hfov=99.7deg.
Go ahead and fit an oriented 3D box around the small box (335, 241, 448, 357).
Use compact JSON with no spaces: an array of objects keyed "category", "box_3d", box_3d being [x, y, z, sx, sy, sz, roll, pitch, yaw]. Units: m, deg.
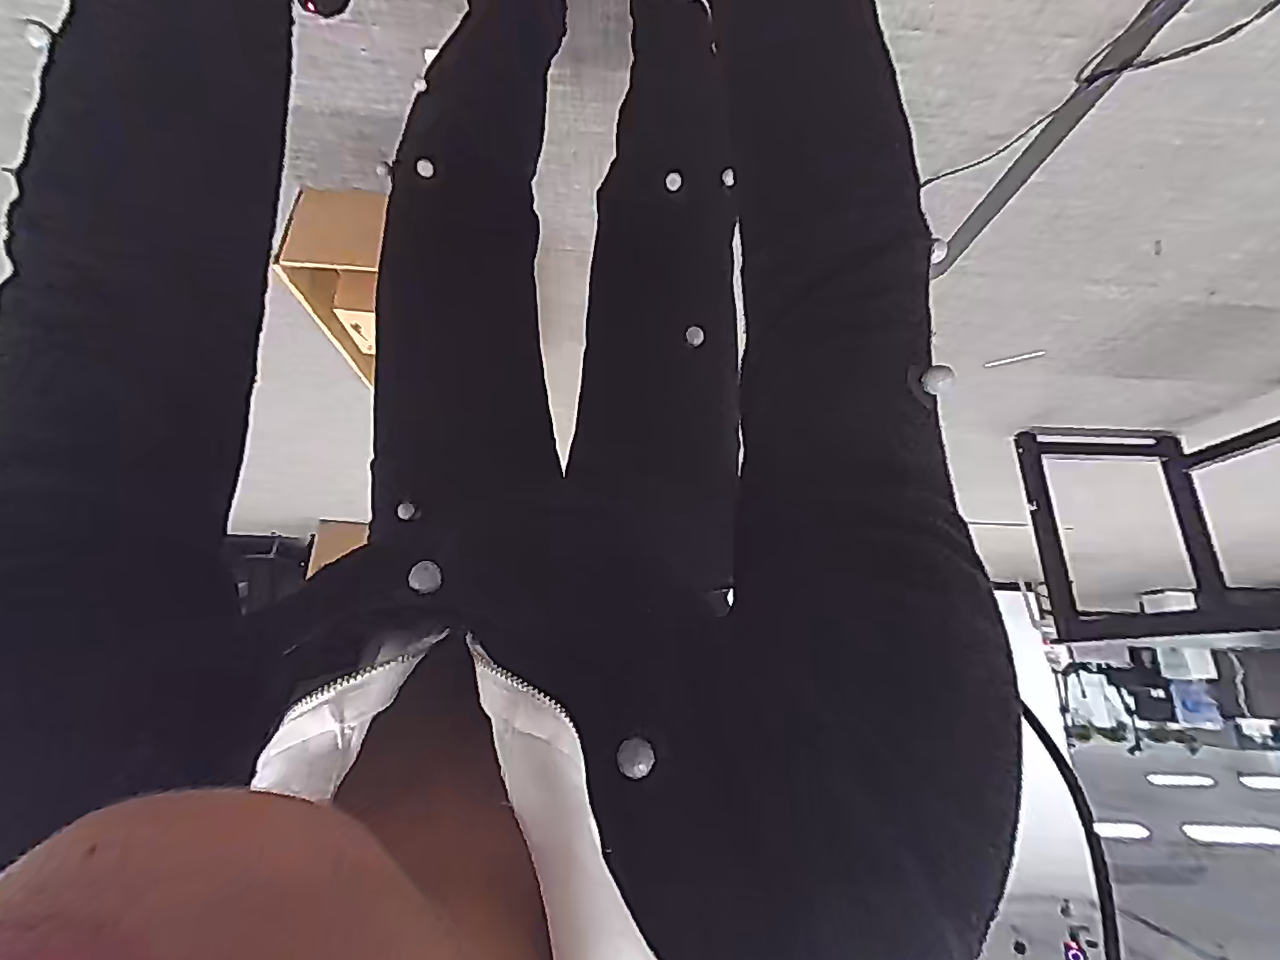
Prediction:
[{"category":"small box","box_3d":[-0.513,-0.381,1.147,0.179,0.176,0.168,2,162,-7]}]
